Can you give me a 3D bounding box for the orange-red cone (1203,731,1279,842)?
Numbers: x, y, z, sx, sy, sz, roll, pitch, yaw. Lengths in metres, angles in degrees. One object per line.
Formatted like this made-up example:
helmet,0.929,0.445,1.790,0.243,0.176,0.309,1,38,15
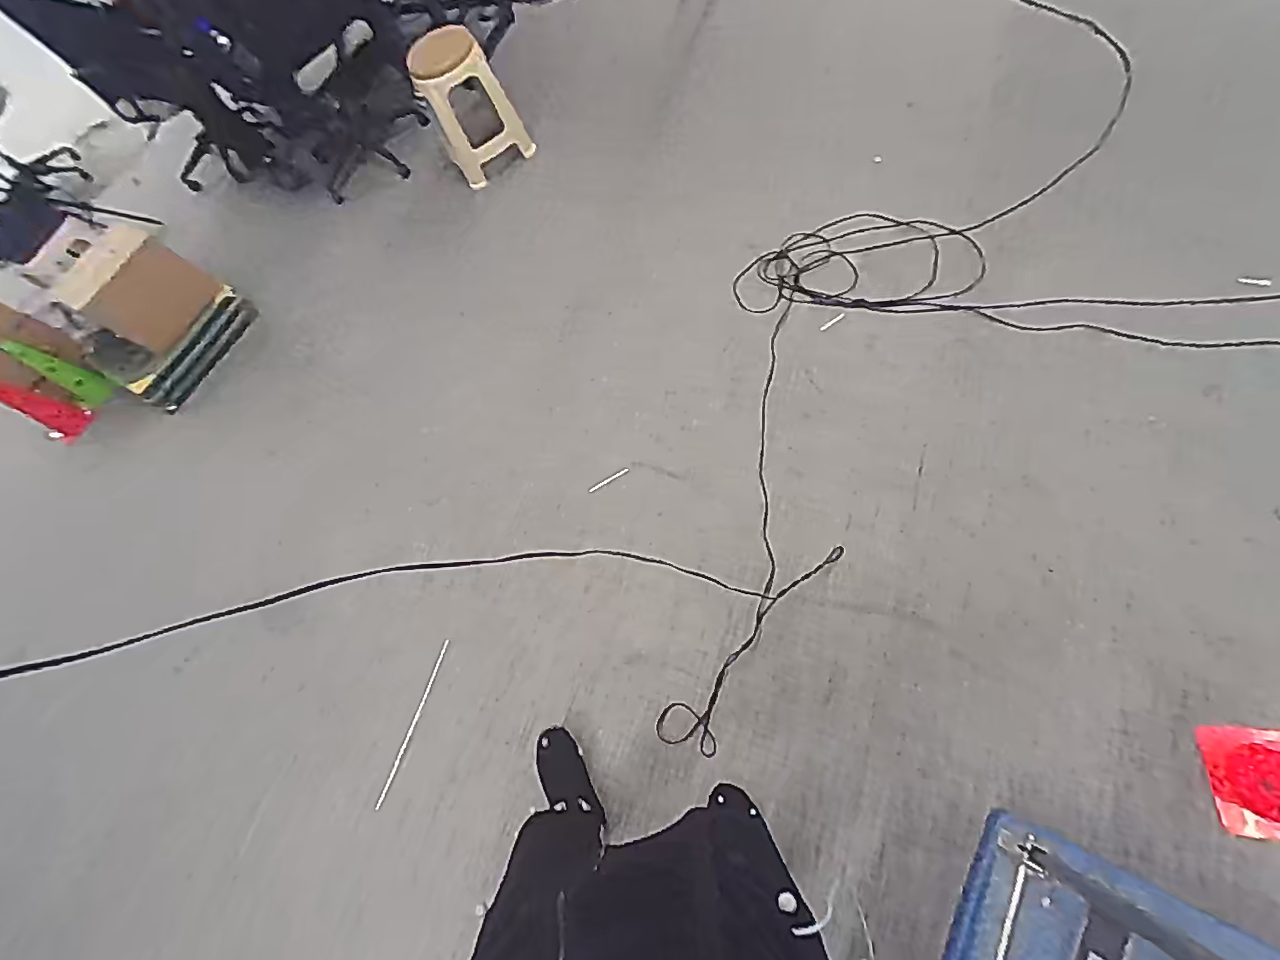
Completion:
orange-red cone,1.226,0.549,0.929,0.198,0.360,0.199,0,66,14
